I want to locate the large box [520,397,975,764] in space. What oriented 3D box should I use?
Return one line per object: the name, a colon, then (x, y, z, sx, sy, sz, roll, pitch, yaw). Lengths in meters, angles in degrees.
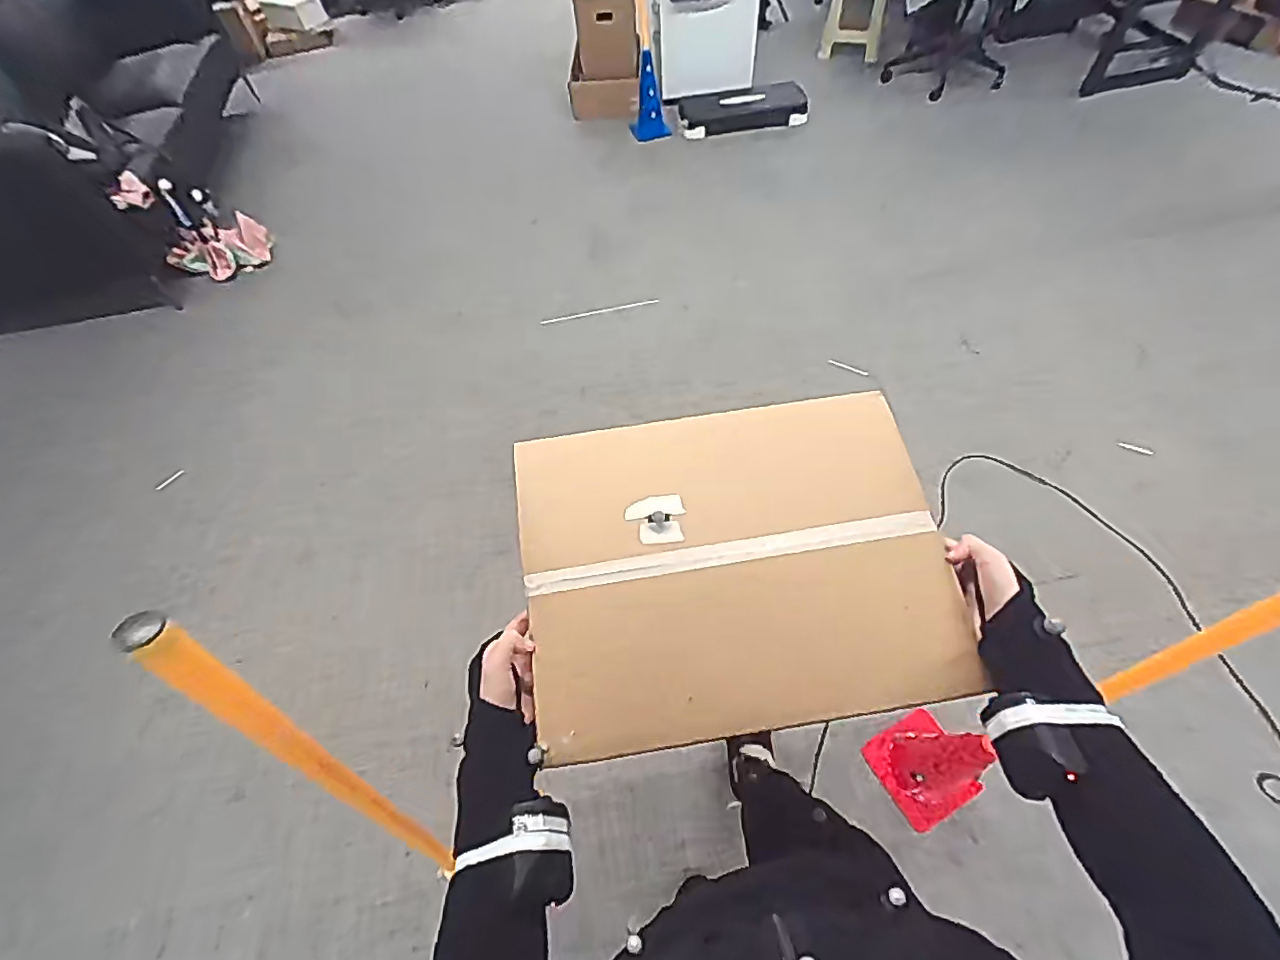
large box: (0.094, 0.135, 0.678, 0.408, 0.320, 0.320, -9, 66, -2)
